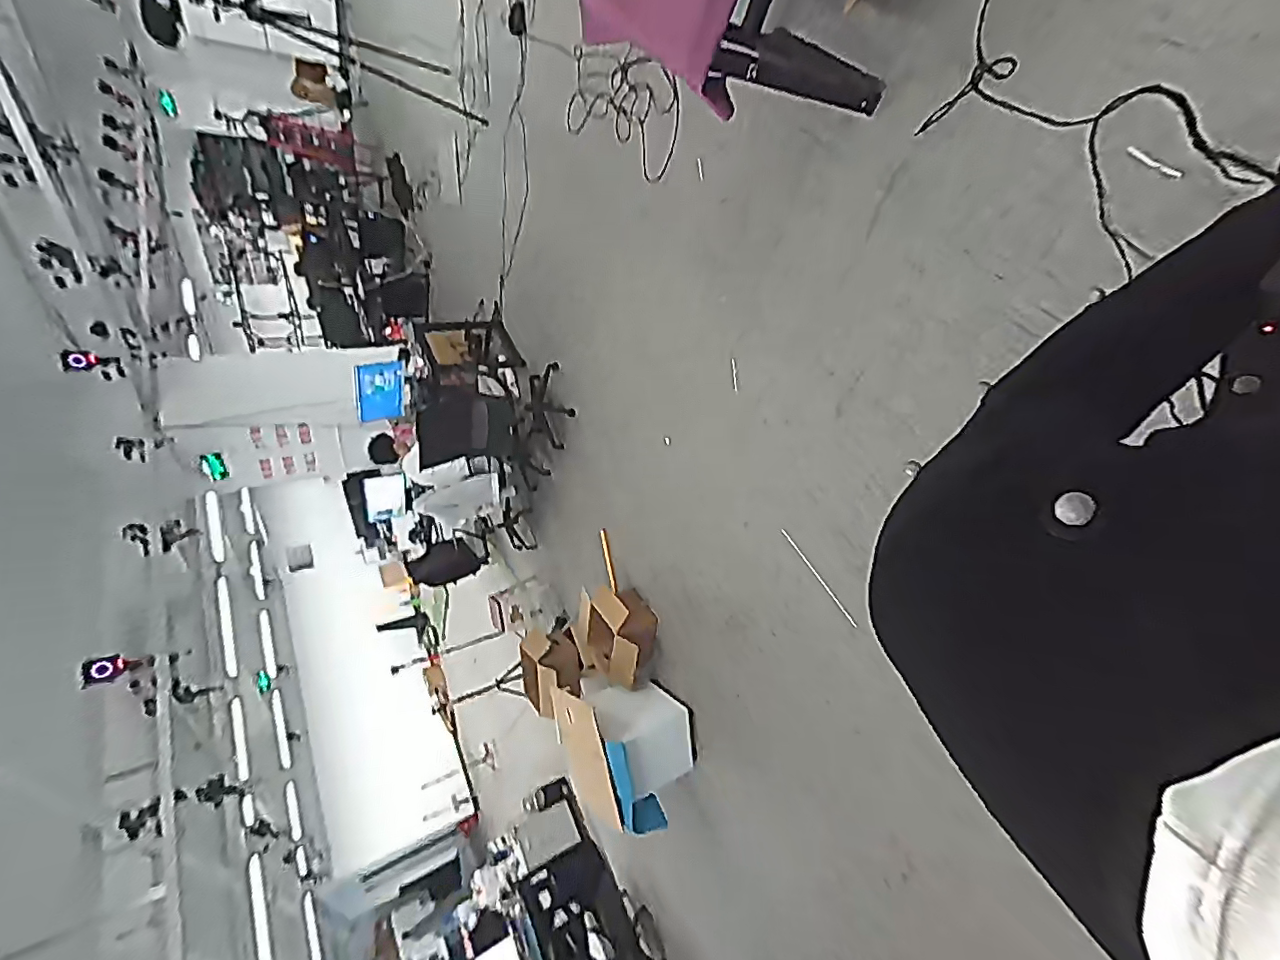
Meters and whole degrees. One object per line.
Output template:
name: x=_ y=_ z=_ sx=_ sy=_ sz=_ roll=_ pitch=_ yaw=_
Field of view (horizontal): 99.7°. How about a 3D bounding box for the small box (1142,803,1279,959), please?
small box: x=1.065 y=0.750 z=0.997 sx=0.168 sy=0.176 sz=0.179 roll=7 pitch=105 yaw=57
